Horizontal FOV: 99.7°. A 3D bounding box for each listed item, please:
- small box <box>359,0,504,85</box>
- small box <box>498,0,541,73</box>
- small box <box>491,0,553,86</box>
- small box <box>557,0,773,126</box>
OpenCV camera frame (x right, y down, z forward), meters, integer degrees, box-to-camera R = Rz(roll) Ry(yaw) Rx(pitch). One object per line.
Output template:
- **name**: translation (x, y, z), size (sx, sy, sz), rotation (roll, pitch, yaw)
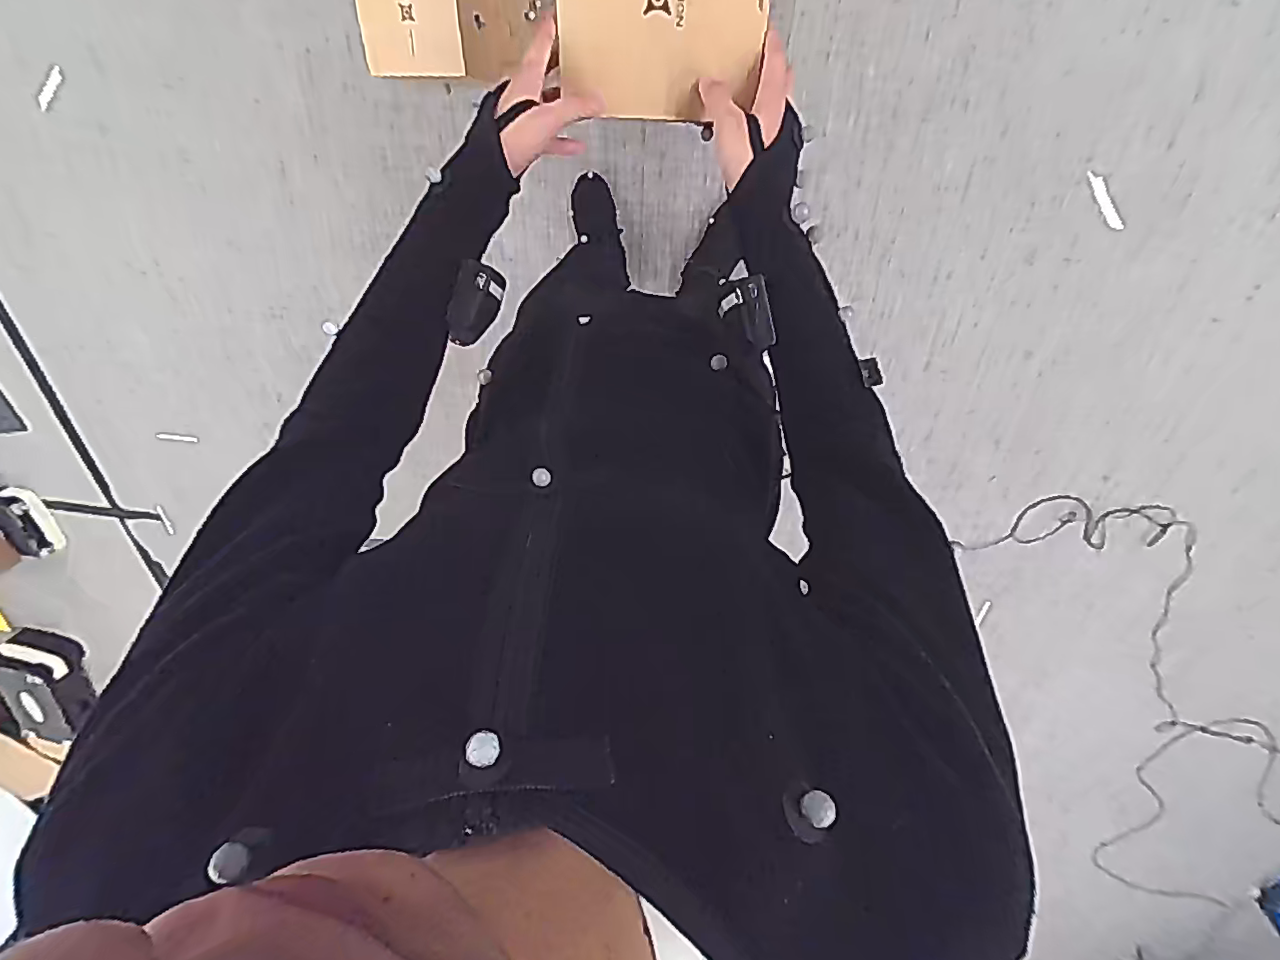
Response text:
- **small box**: translation (-0.334, -0.760, 0.880), size (0.168, 0.176, 0.179), rotation (6, 123, 6)
- **small box**: translation (-0.298, -0.866, 1.004), size (0.179, 0.176, 0.168), rotation (2, 122, 7)
- **small box**: translation (-0.291, -0.951, 1.144), size (0.168, 0.176, 0.179), rotation (3, 123, 7)
- **small box**: translation (0.020, -0.427, 0.497), size (0.179, 0.176, 0.168), rotation (1, 124, -1)
